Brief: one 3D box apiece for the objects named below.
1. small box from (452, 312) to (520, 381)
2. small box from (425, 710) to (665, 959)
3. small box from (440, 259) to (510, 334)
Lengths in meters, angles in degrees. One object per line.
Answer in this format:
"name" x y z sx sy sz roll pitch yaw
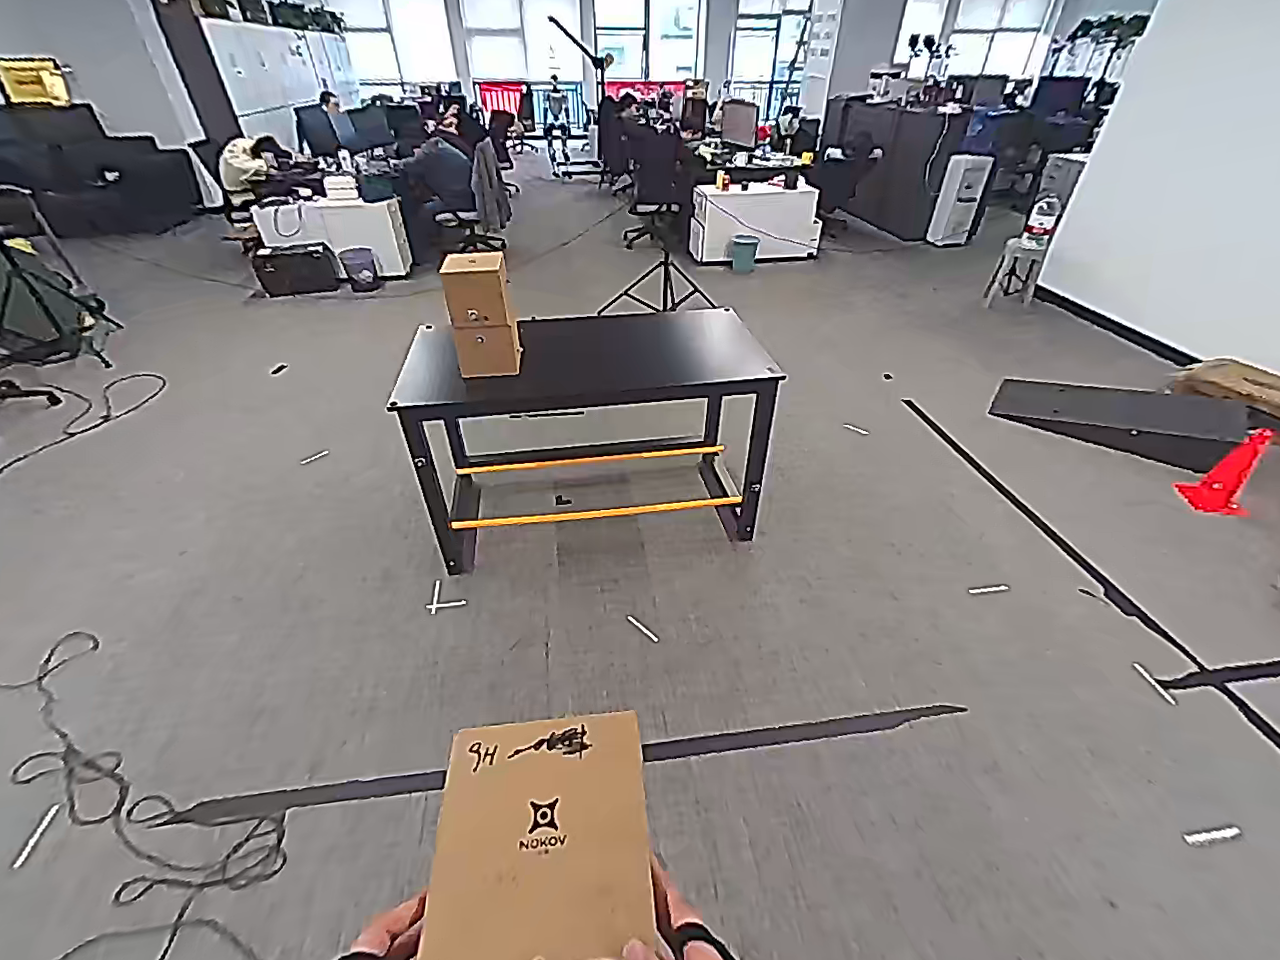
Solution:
"small box" -0.487 -0.426 1.731 0.179 0.176 0.168 -4 38 -7
"small box" -0.069 0.333 0.479 0.168 0.176 0.179 -6 41 -3
"small box" -0.489 -0.553 1.631 0.168 0.176 0.179 -7 39 -6
